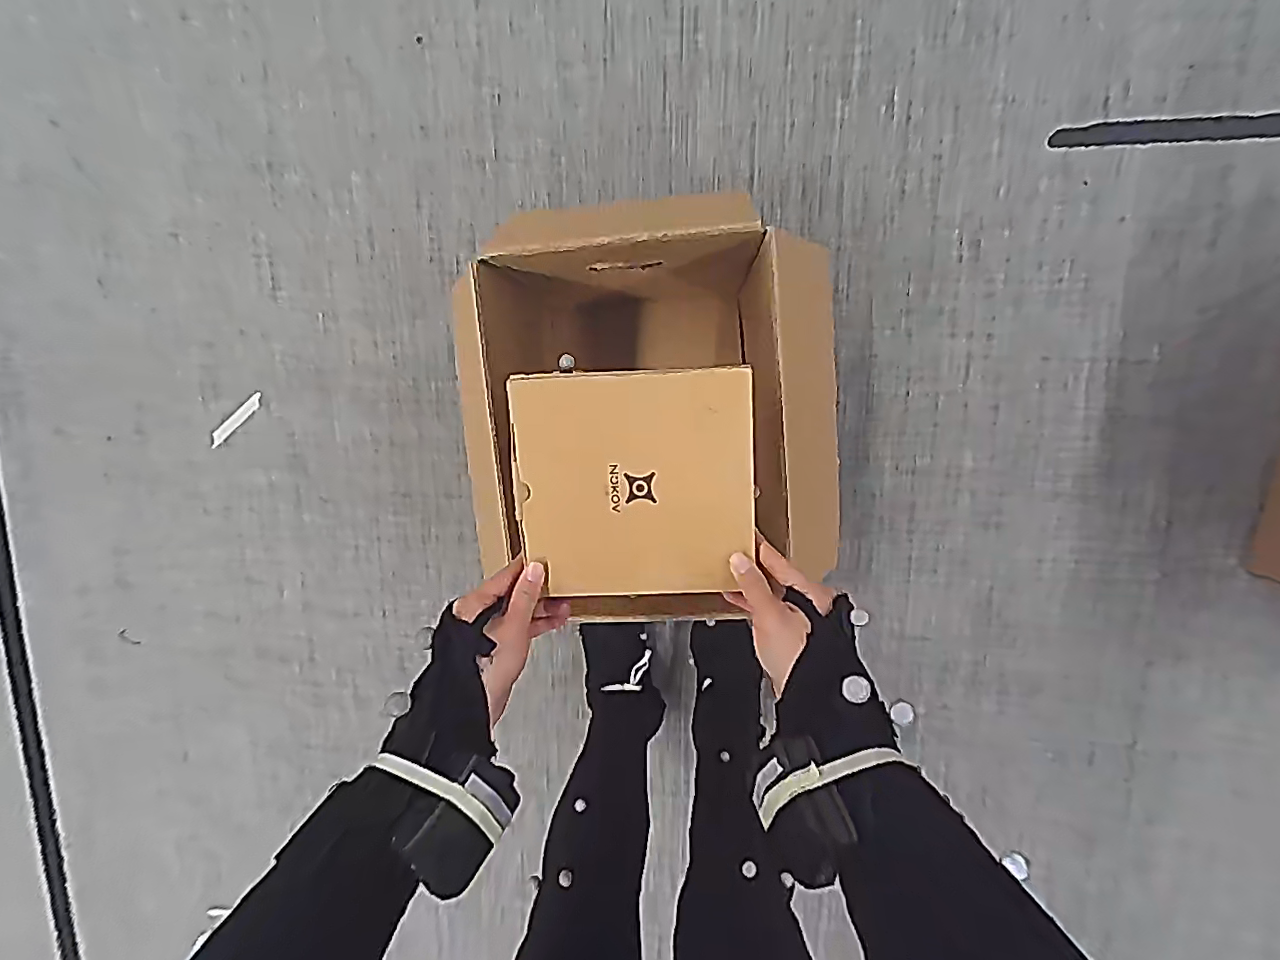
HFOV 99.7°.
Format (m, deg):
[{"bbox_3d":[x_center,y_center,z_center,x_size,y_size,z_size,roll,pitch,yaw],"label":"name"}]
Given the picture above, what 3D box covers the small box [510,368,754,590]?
[{"bbox_3d":[-0.001,-0.012,0.478,0.179,0.176,0.168,-2,100,4],"label":"small box"}]
